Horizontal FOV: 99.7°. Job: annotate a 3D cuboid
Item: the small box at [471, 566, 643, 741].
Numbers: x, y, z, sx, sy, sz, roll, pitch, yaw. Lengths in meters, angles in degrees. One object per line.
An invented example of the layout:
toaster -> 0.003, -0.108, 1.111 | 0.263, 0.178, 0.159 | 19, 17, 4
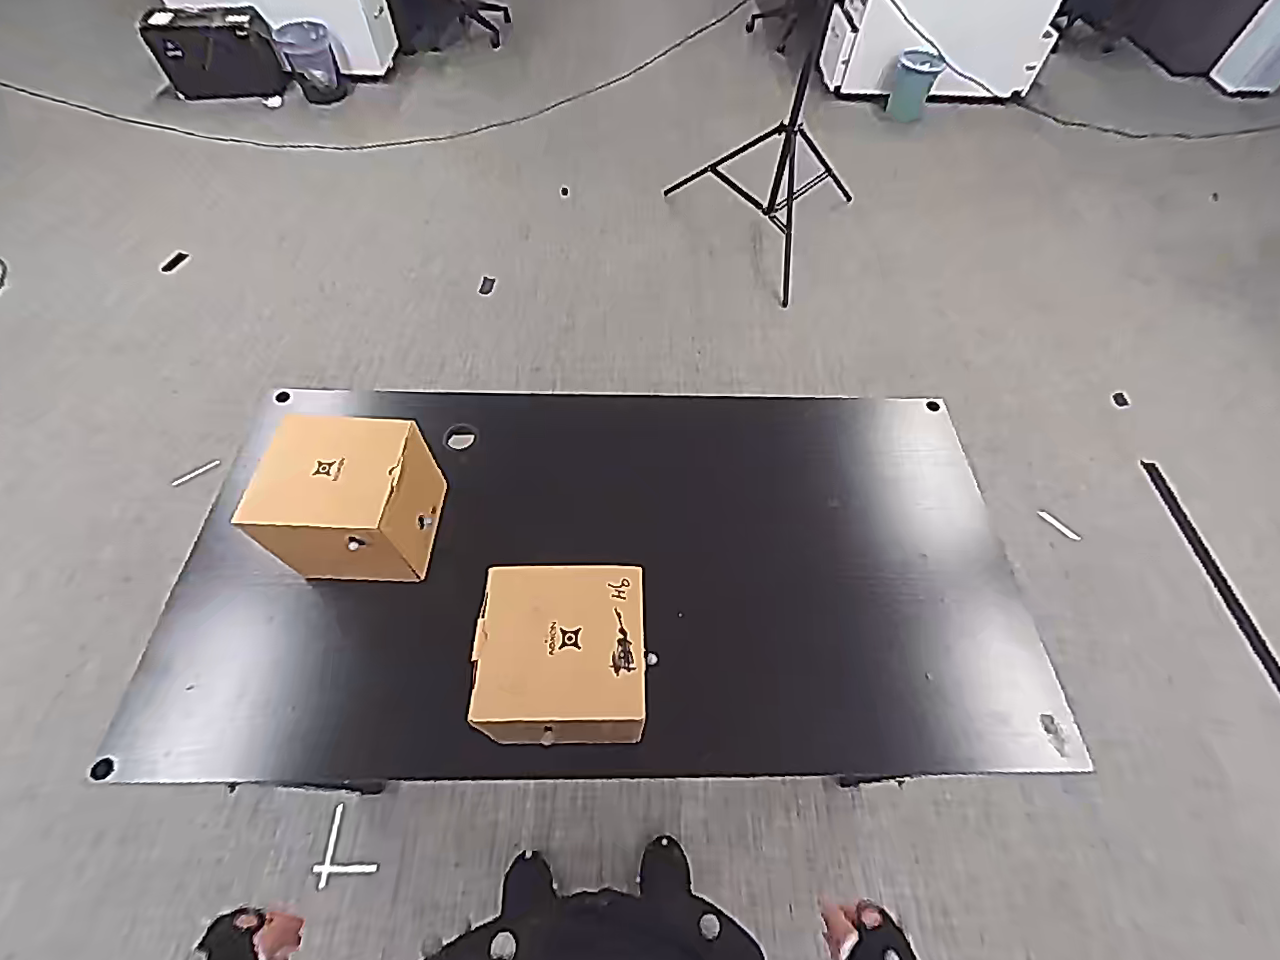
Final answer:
small box -> -0.085, 0.214, 0.650 | 0.179, 0.176, 0.168 | 0, 57, -2

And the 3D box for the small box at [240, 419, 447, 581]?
small box -> -0.391, 0.033, 0.752 | 0.179, 0.176, 0.168 | 2, 58, -2
